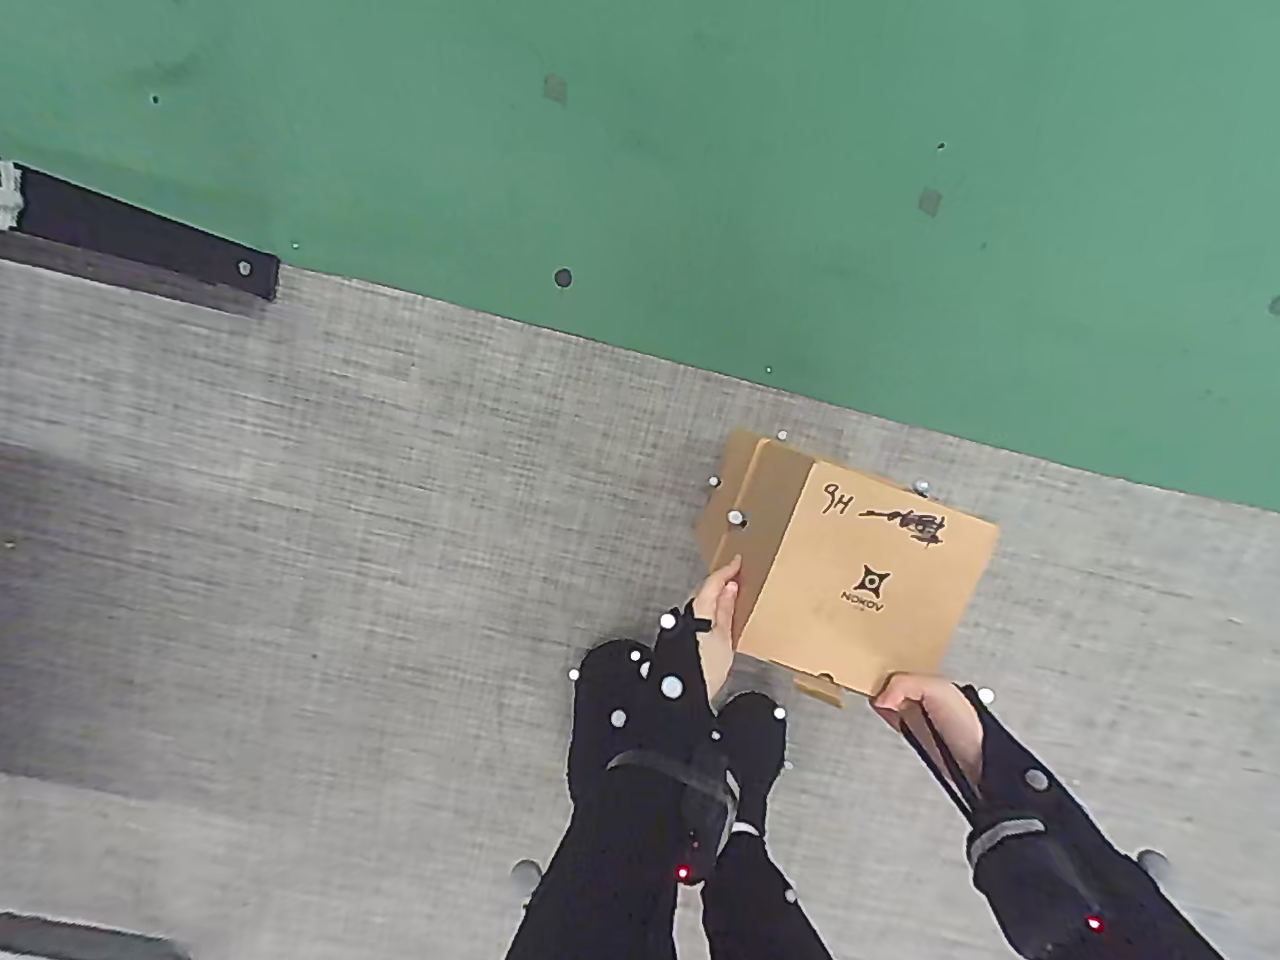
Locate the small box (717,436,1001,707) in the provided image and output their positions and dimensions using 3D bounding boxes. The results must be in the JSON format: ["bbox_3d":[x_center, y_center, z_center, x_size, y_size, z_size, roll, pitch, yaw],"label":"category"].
[{"bbox_3d":[0.181,0.070,0.512,0.168,0.176,0.179,20,99,-3],"label":"small box"}]
